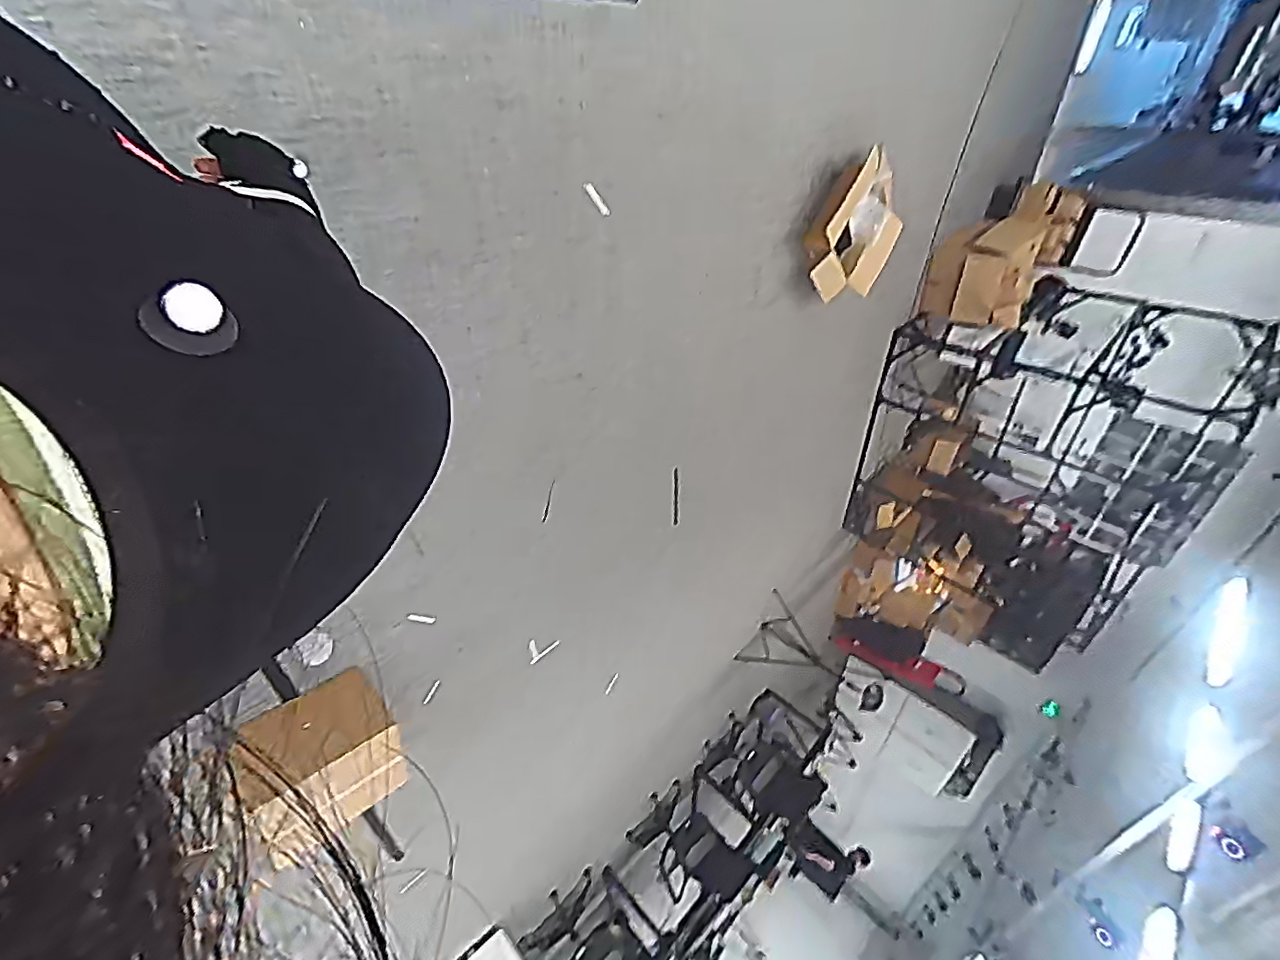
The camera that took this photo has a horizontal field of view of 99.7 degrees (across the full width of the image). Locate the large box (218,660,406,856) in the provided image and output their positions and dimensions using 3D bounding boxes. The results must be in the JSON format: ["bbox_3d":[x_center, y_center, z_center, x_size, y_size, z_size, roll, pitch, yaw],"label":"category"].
[{"bbox_3d":[-1.038,0.870,1.743,0.408,0.320,0.320,-26,133,-40],"label":"large box"}]
